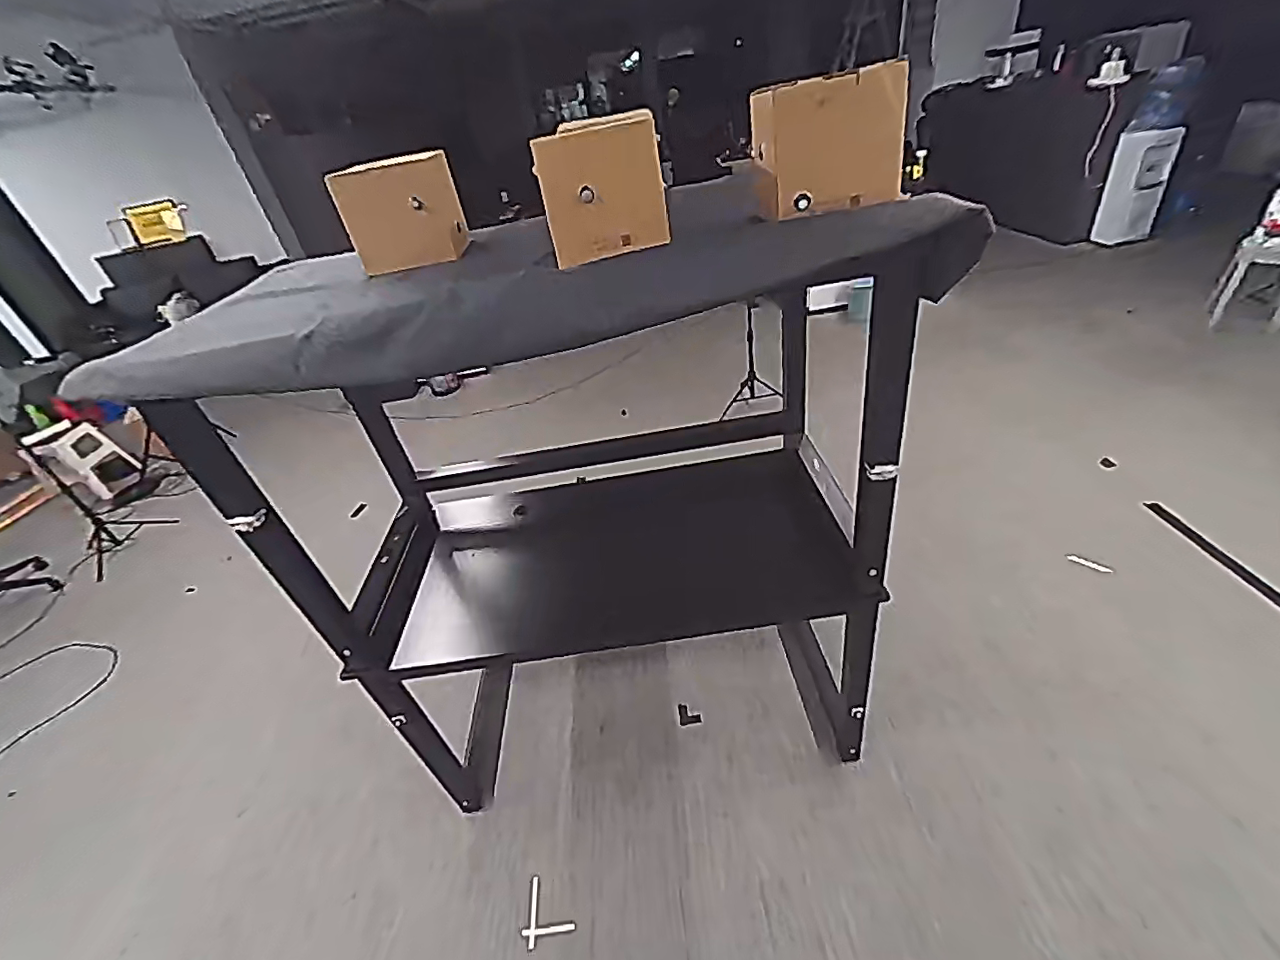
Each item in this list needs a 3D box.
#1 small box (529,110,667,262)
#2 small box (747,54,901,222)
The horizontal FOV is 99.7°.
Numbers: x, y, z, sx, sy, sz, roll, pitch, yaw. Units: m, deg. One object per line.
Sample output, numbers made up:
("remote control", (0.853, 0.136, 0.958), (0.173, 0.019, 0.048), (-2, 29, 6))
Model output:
("small box", (-0.056, -0.439, 0.817), (0.168, 0.176, 0.179), (-10, 33, 3))
("small box", (0.255, -0.480, 0.777), (0.168, 0.176, 0.179), (-8, 32, 5))
